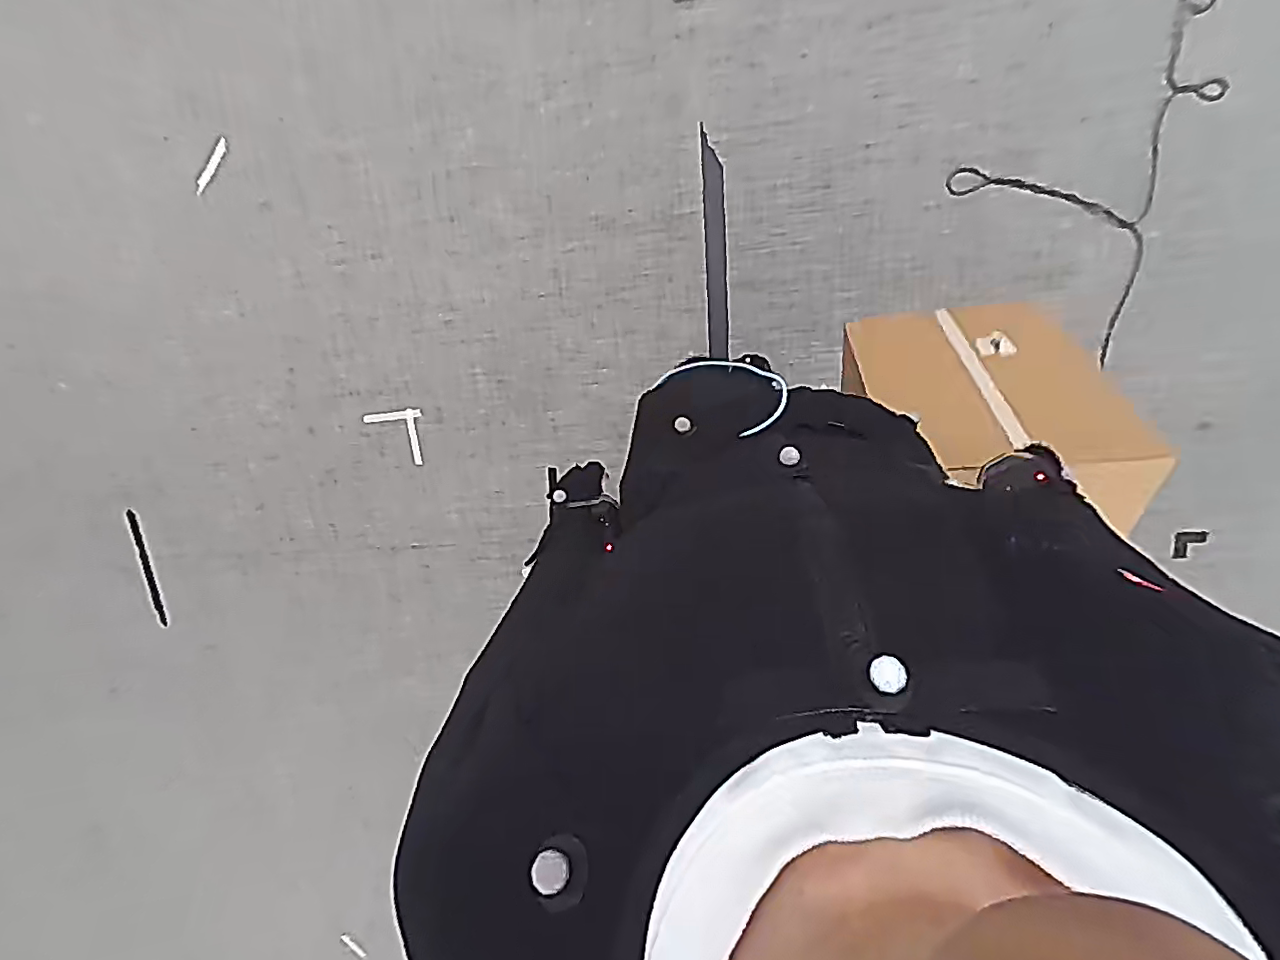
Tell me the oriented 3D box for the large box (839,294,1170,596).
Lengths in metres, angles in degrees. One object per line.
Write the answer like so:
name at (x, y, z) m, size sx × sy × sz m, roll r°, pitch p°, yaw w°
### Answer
large box at (0.534, -0.060, 0.912) m, size 0.320 × 0.408 × 0.320 m, roll -4°, pitch 133°, yaw 11°
